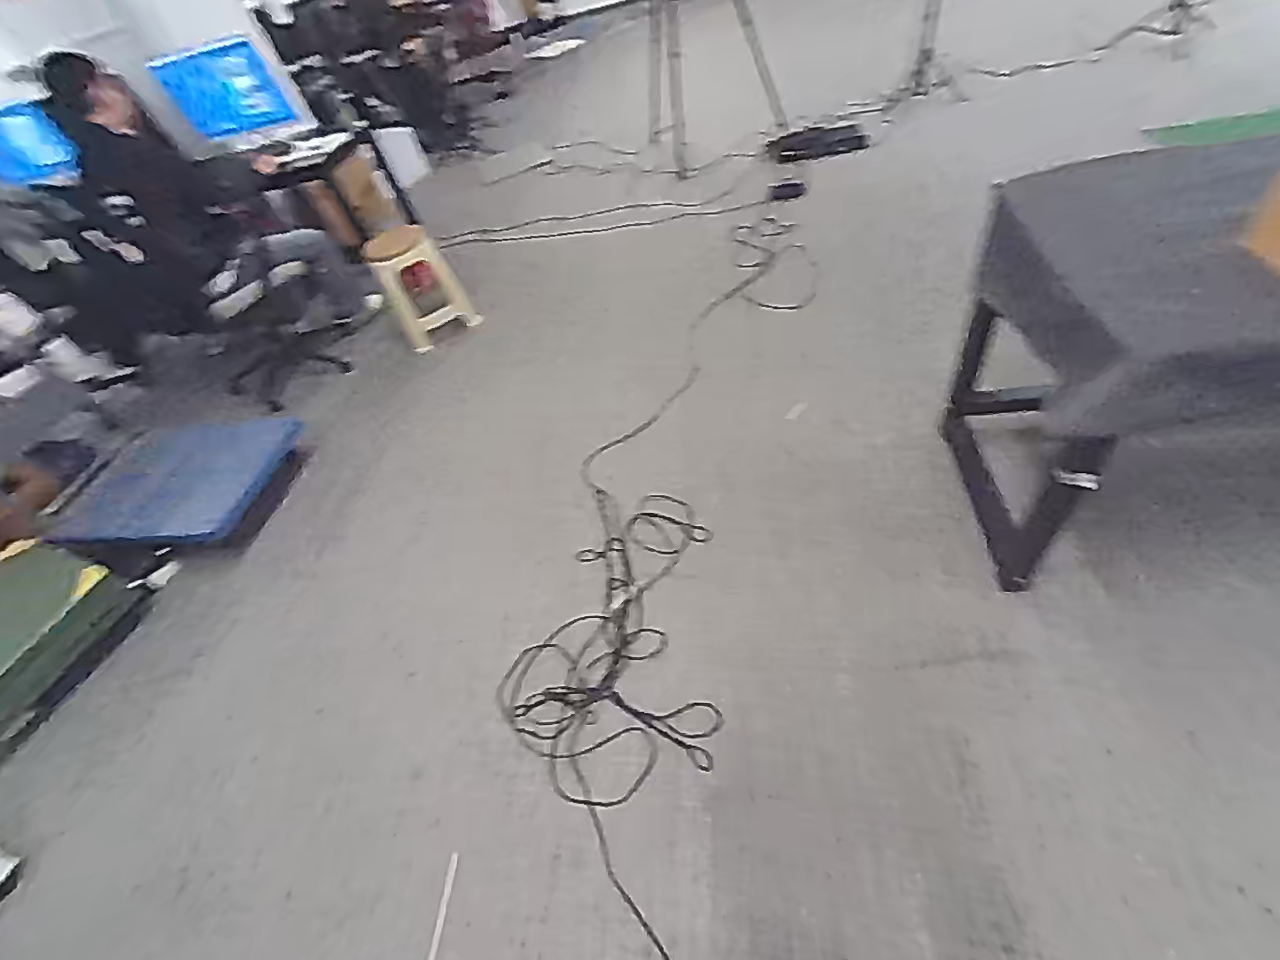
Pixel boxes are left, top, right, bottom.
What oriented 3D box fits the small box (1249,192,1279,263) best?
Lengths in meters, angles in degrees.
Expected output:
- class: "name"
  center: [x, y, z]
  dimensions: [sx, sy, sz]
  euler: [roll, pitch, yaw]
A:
- class: "small box"
  center: [1.030, -0.378, 0.744]
  dimensions: [0.168, 0.176, 0.179]
  euler: [-6, 49, 10]
